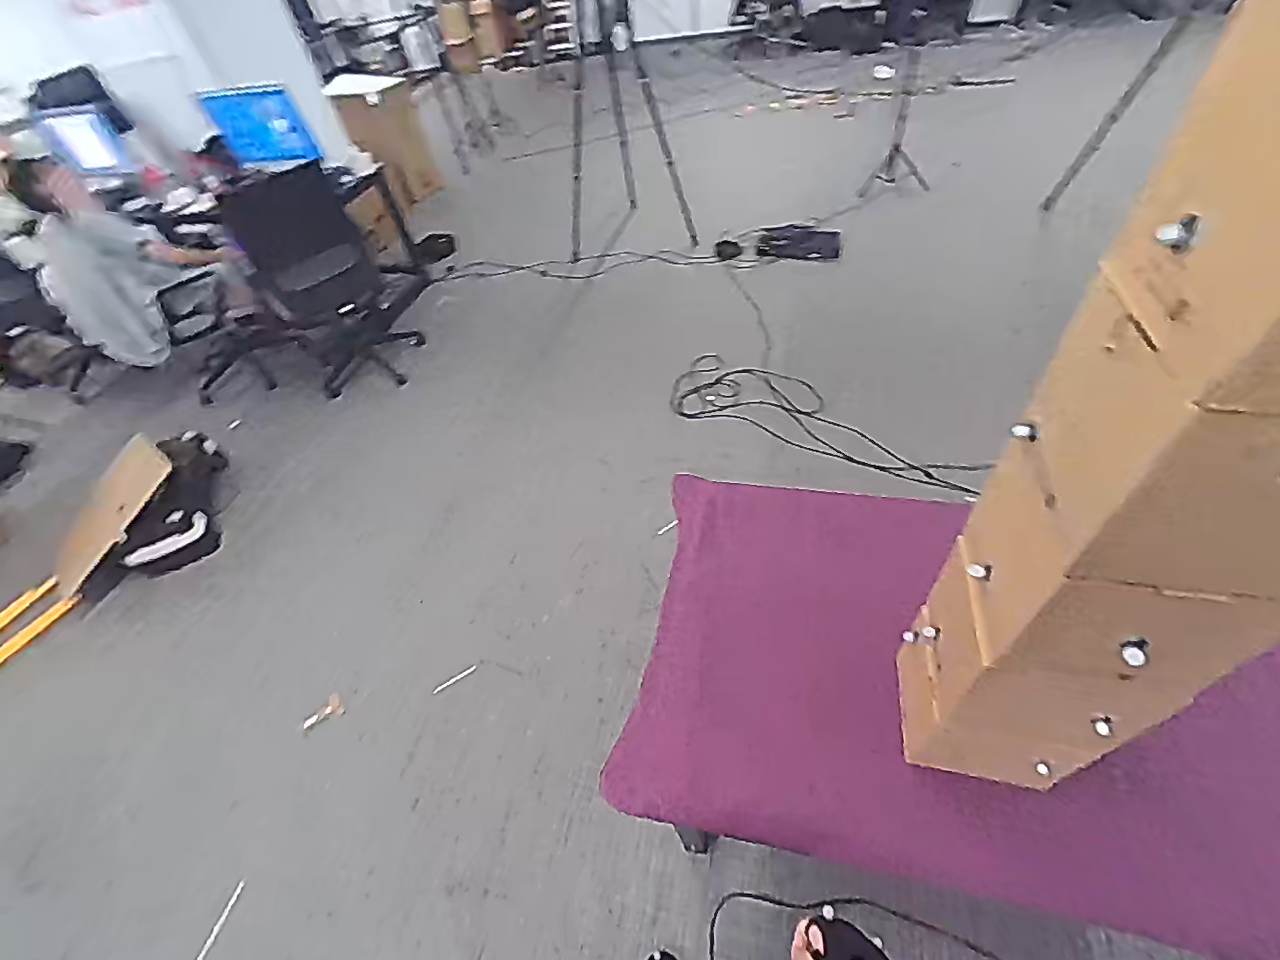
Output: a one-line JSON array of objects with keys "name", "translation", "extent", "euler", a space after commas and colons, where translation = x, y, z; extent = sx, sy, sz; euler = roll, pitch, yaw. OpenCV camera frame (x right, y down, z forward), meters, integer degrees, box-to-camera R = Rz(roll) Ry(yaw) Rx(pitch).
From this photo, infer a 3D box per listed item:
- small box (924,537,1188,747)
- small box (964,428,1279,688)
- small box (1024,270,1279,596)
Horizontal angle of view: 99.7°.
[{"name": "small box", "translation": [0.450, 0.188, 0.624], "extent": [0.179, 0.176, 0.168], "euler": [5, 48, 15]}, {"name": "small box", "translation": [0.430, 0.074, 0.510], "extent": [0.168, 0.176, 0.179], "euler": [5, 49, 14]}, {"name": "small box", "translation": [0.410, -0.035, 0.388], "extent": [0.179, 0.176, 0.168], "euler": [5, 48, 13]}]
